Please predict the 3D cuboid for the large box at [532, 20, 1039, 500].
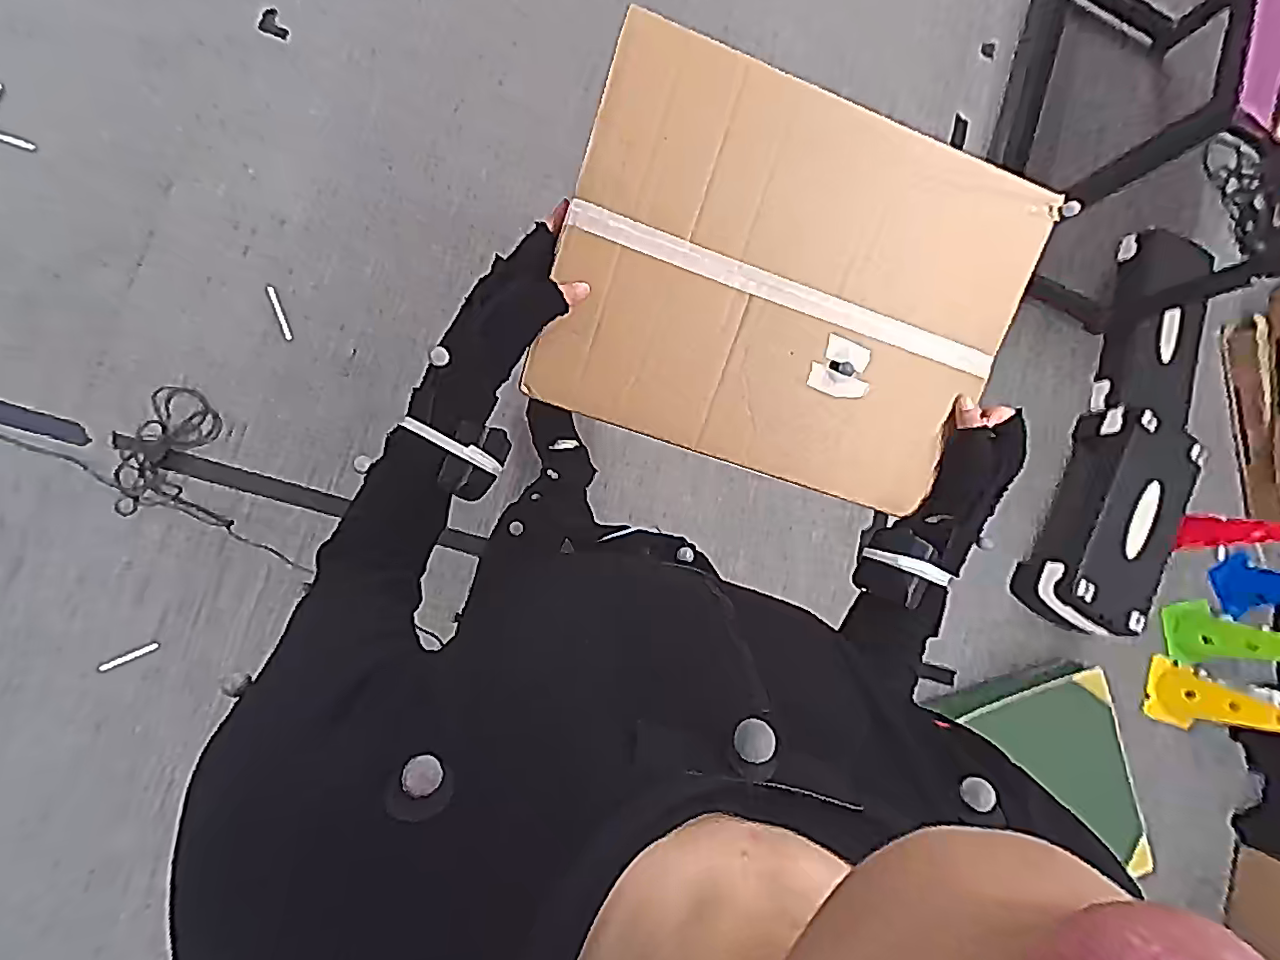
[{"bbox_3d":[0.118,-0.208,0.635,0.408,0.320,0.320,18,102,-9],"label":"large box"}]
